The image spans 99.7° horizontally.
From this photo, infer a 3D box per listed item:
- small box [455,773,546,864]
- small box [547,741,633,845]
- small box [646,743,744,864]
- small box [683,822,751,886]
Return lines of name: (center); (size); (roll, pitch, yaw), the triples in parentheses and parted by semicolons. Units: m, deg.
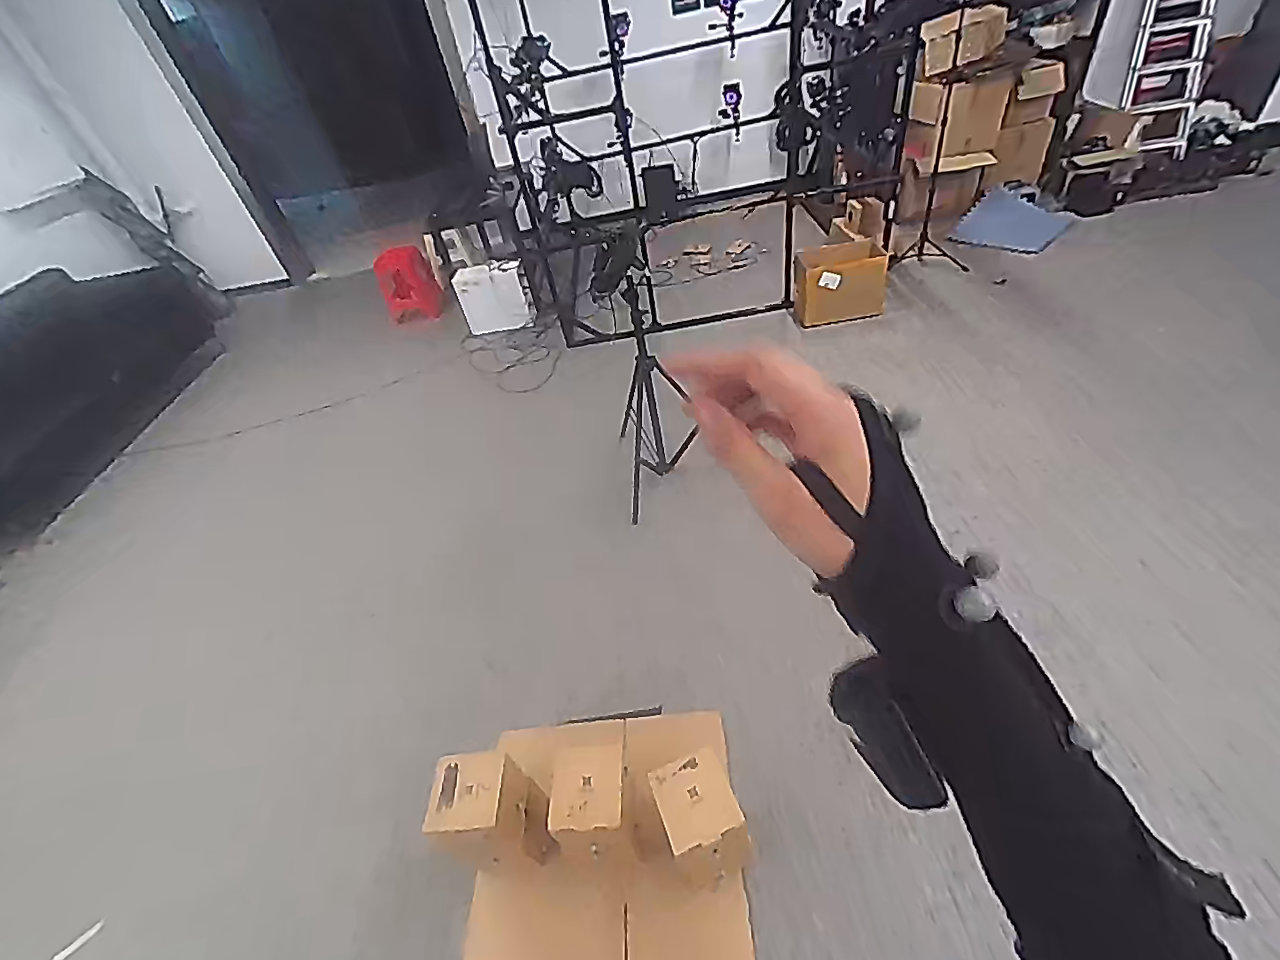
small box: (-0.359, 0.900, 1.433); (0.179, 0.176, 0.168); (-9, 42, 6)
small box: (-0.112, 0.749, 1.294); (0.168, 0.176, 0.179); (-6, 43, 6)
small box: (0.129, 0.748, 1.241); (0.168, 0.176, 0.179); (-20, 43, -8)
small box: (0.163, 0.865, 1.349); (0.168, 0.176, 0.179); (-22, 42, -9)
